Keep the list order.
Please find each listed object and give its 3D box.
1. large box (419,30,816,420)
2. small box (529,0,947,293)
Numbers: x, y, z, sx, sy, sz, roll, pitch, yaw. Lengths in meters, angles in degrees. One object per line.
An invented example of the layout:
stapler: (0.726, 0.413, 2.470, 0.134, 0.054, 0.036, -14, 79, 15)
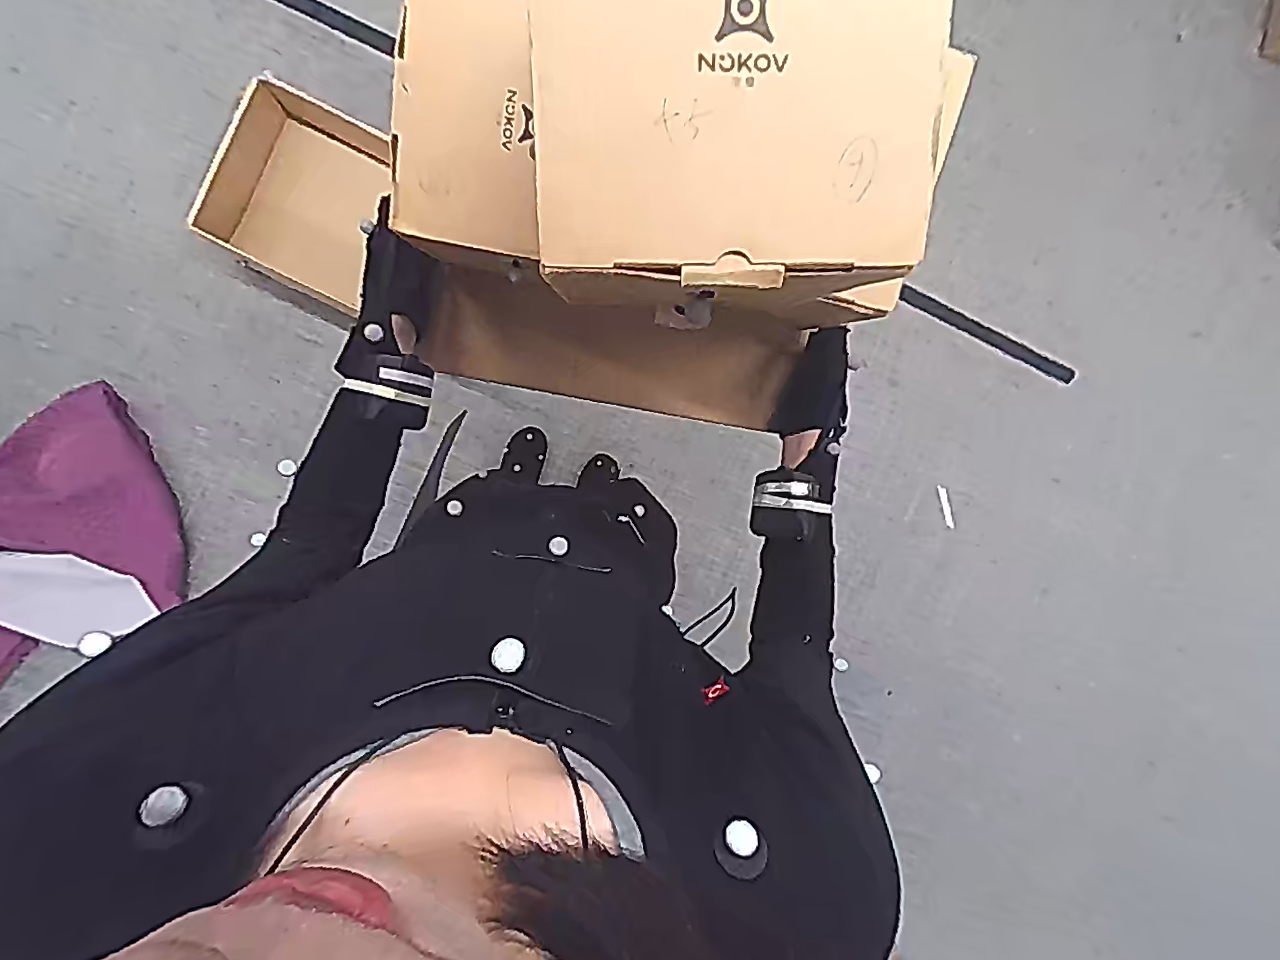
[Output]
large box: (-0.023, -0.269, 0.687, 0.408, 0.320, 0.320, 9, 102, -7)
small box: (0.036, -0.197, 0.290, 0.168, 0.176, 0.179, -1, 104, -3)
